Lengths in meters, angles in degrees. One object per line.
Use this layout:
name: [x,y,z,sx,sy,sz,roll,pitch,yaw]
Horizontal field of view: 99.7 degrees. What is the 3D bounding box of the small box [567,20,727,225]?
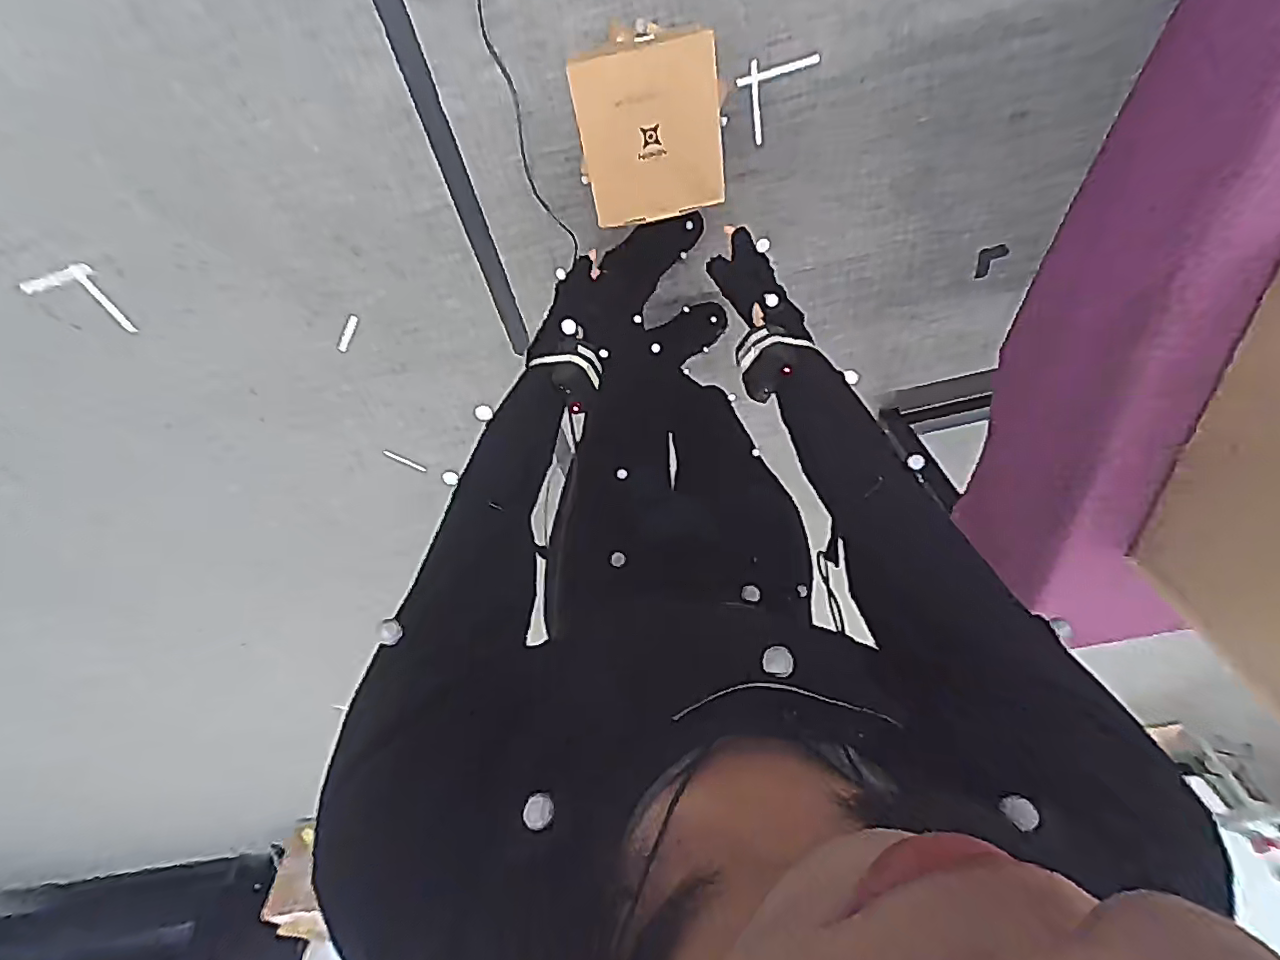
small box: [0.012,-0.456,0.689,0.168,0.176,0.179,-11,131,4]
